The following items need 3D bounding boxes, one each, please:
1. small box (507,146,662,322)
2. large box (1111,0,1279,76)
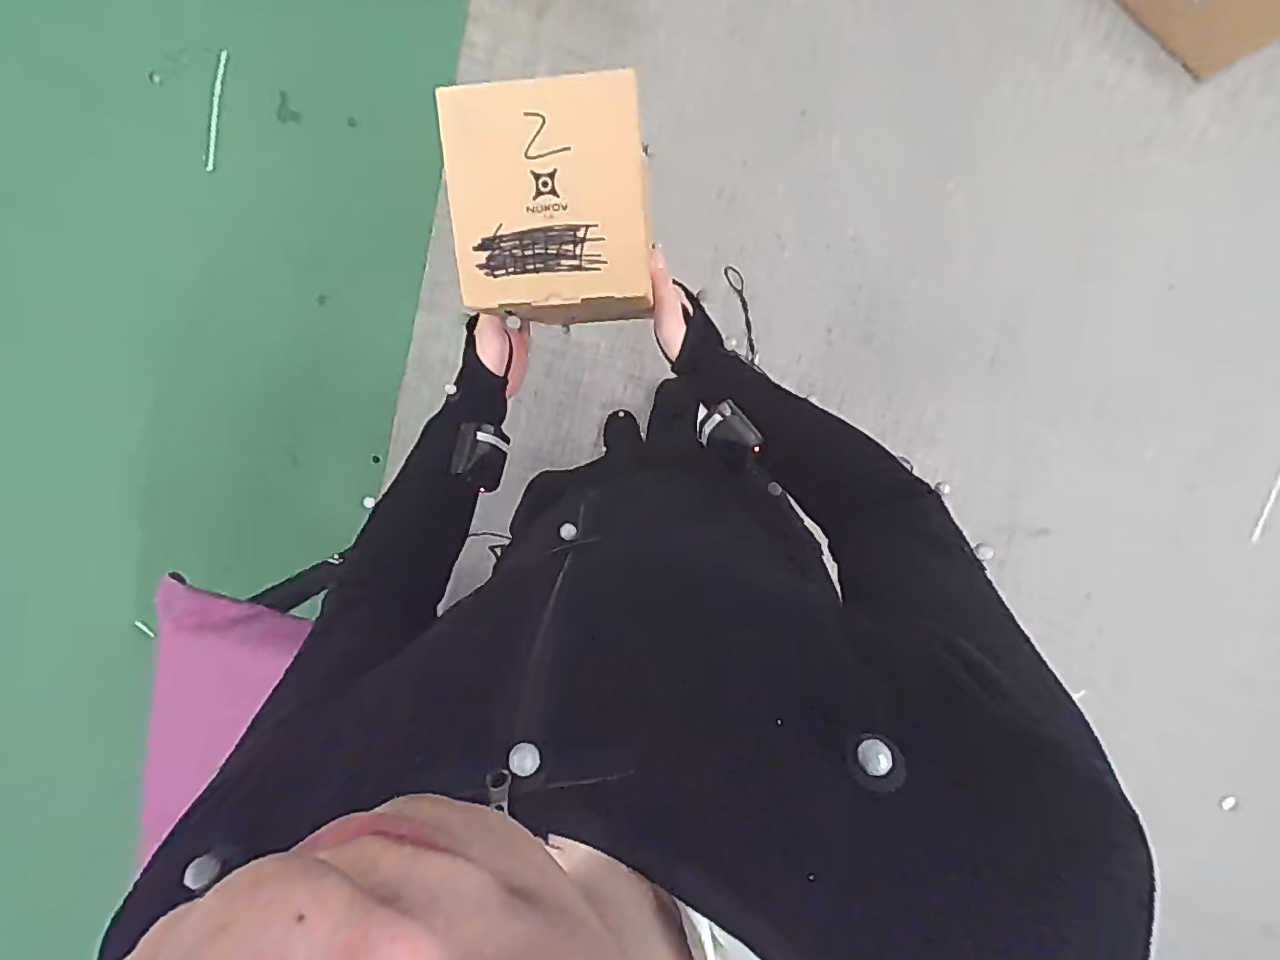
[{"bbox_3d":[-0.058,-0.295,0.689,0.168,0.176,0.179,-2,103,3],"label":"small box"},{"bbox_3d":[1.367,-1.239,1.205,0.408,0.320,0.320,38,99,-3],"label":"large box"}]
